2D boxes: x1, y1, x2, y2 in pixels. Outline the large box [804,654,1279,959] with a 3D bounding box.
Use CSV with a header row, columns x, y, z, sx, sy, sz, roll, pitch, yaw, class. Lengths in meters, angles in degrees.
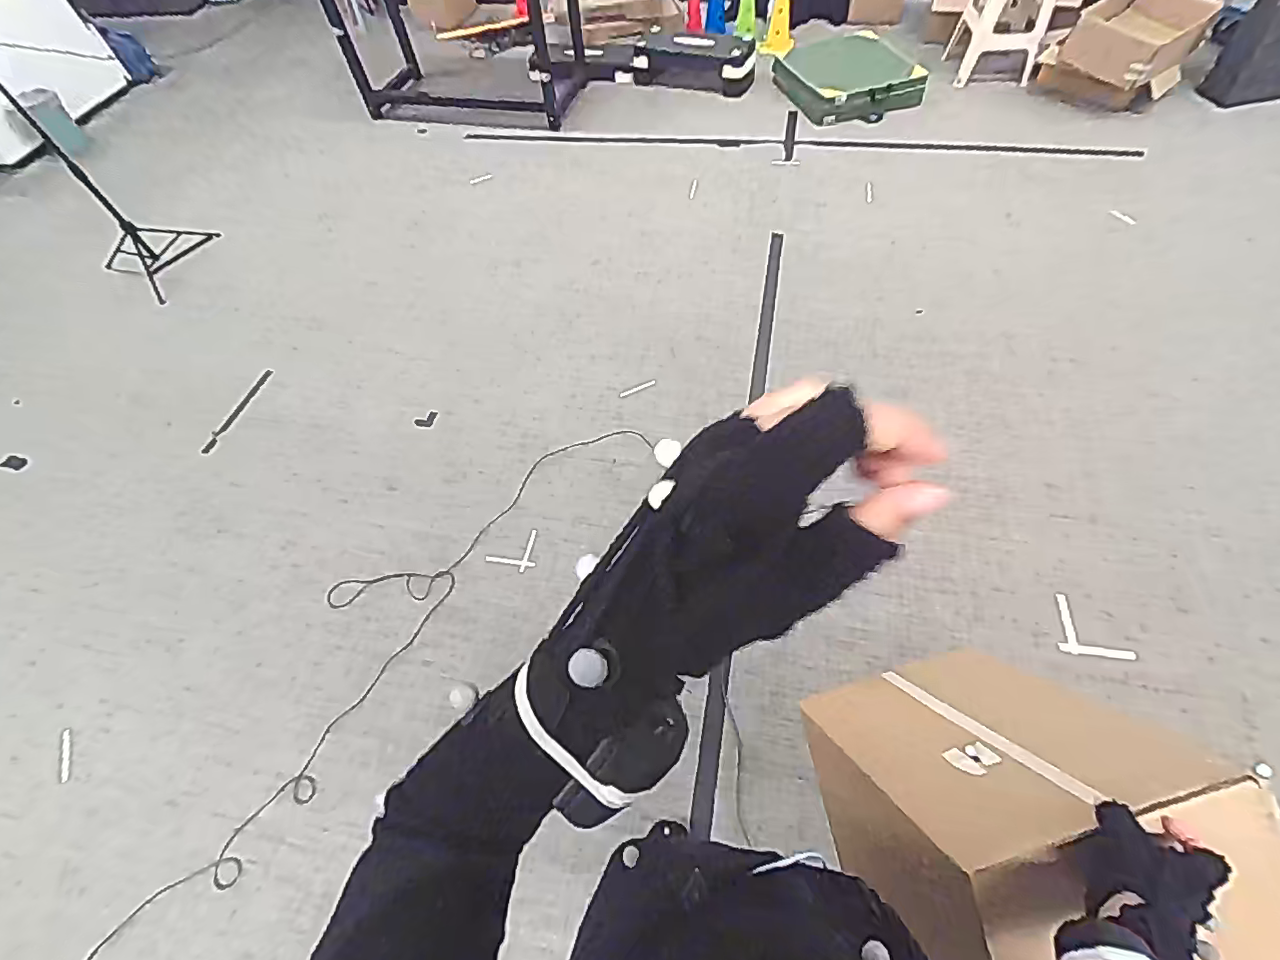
x,y,z,sx,sy,sz,roll,pitch,yaw,class
0.464,0.468,0.694,0.320,0.408,0.320,-15,91,-6,large box
